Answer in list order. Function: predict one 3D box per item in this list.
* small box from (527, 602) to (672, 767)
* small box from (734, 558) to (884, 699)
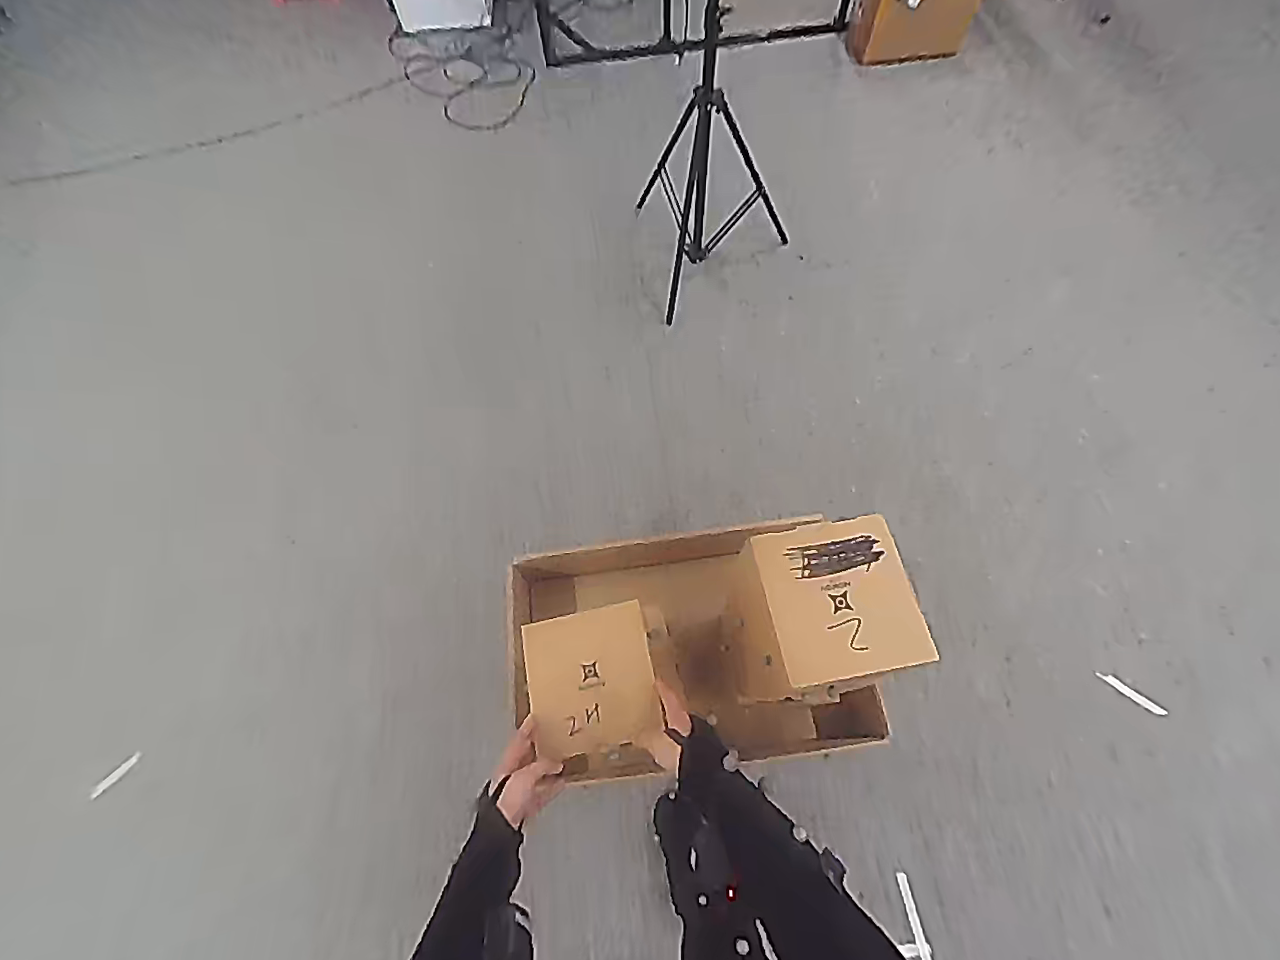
[{"bbox_3d":[-0.053,0.290,0.767,0.168,0.176,0.179,-13,67,-1],"label":"small box"},{"bbox_3d":[0.243,0.232,0.830,0.168,0.176,0.179,-5,64,1],"label":"small box"}]
